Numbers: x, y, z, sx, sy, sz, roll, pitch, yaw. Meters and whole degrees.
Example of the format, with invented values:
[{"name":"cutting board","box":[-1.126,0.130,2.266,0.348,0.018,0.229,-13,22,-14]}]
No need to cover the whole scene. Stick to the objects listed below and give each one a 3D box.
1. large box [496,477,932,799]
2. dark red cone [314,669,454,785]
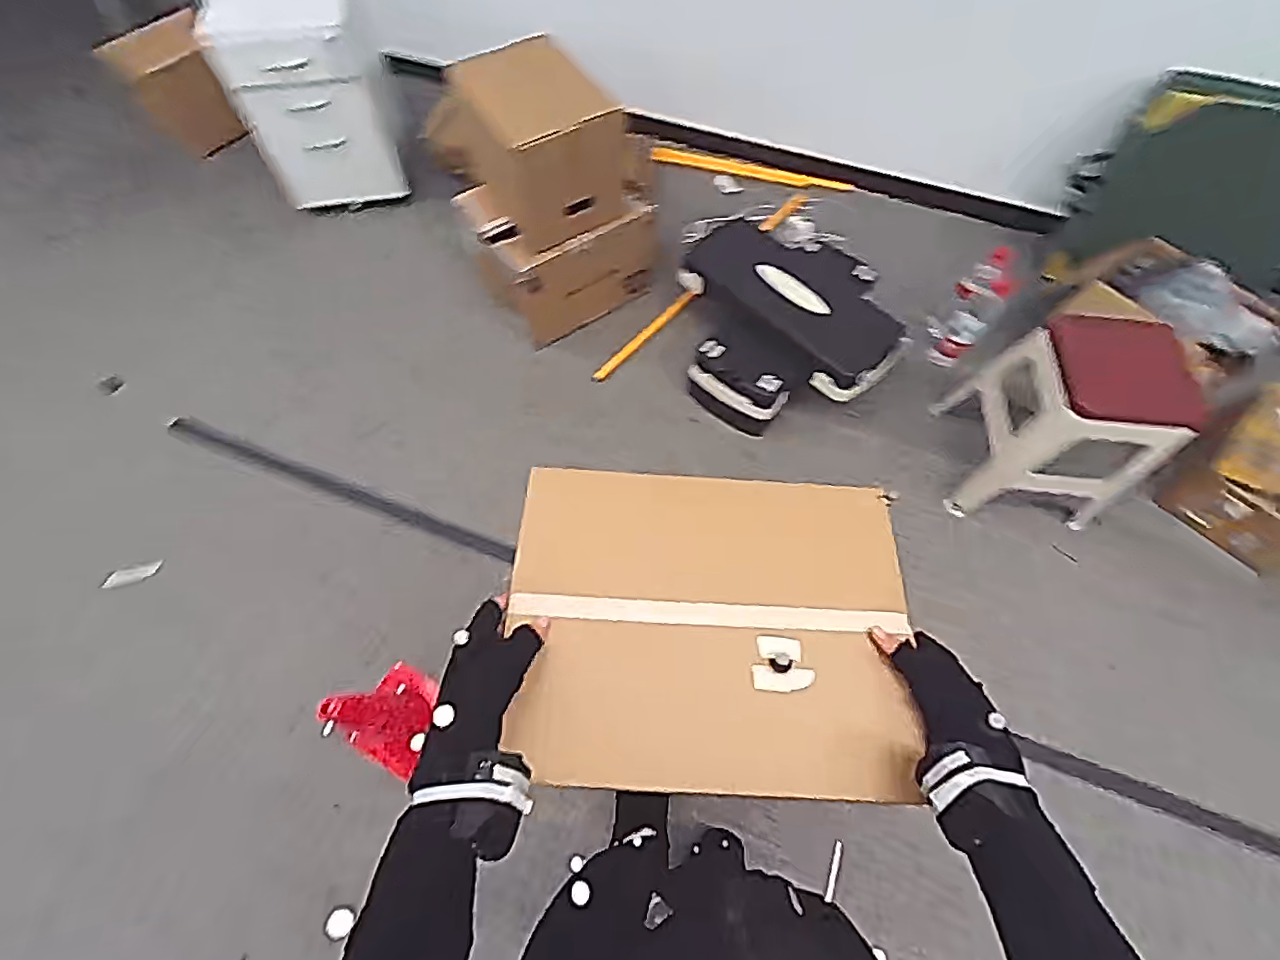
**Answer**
[{"name":"large box","box":[0.065,0.212,0.683,0.408,0.320,0.320,4,62,-1]},{"name":"dark red cone","box":[-0.555,0.492,1.108,0.201,0.394,0.202,25,66,10]}]
